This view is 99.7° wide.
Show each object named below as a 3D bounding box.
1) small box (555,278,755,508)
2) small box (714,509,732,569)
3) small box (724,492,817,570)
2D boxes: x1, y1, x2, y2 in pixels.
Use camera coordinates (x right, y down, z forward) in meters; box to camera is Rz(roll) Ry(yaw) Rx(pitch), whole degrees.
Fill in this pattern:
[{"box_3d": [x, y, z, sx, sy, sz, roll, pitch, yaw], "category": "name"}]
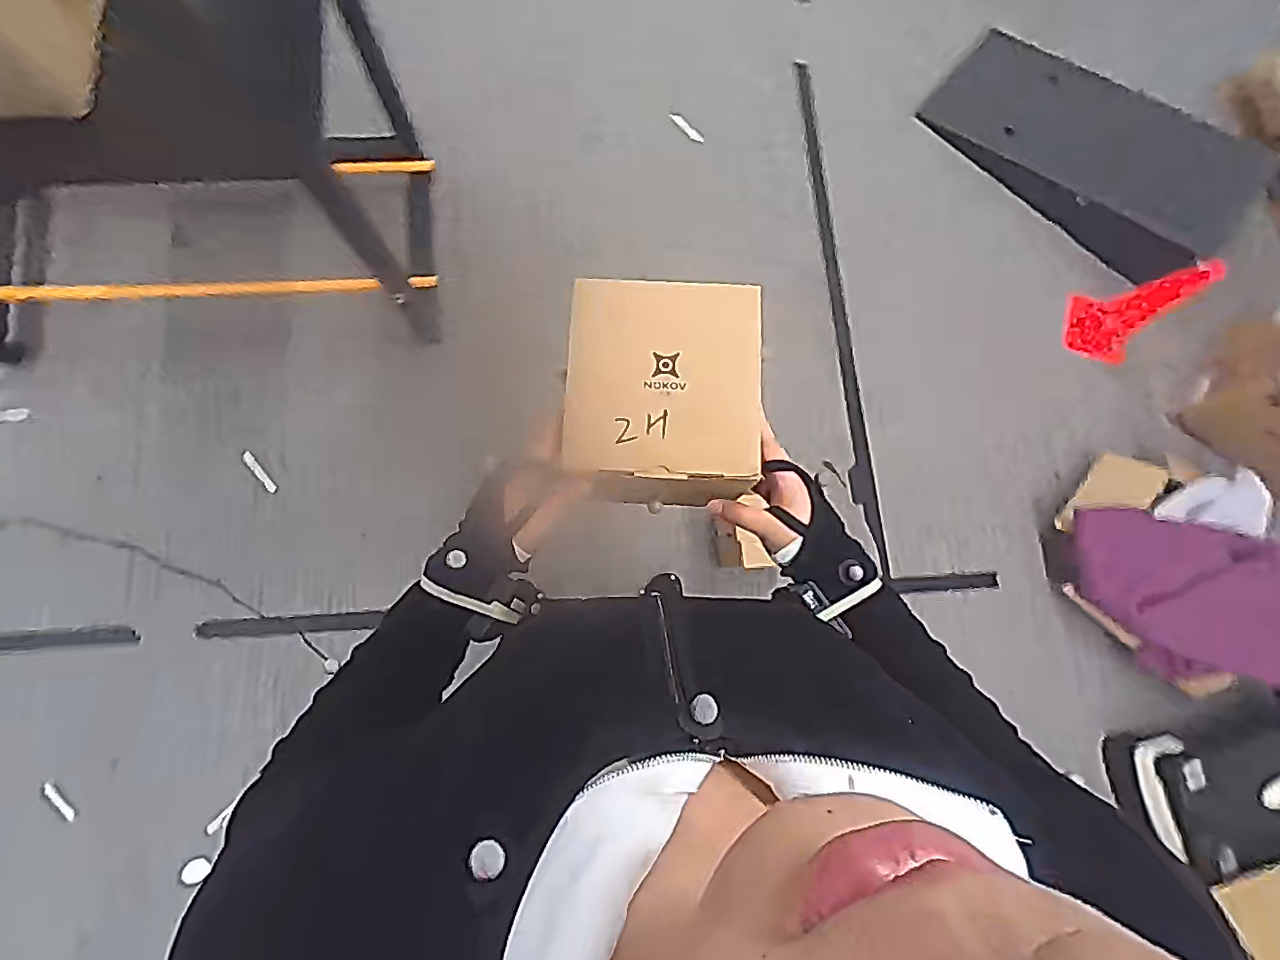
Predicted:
[{"box_3d": [0.014, -0.073, 0.532, 0.168, 0.176, 0.179, 1, 79, 1], "category": "small box"}, {"box_3d": [0.310, 0.152, 1.466, 0.179, 0.176, 0.168, -5, 79, -4], "category": "small box"}, {"box_3d": [0.305, 0.127, 1.303, 0.179, 0.176, 0.168, -4, 79, -4], "category": "small box"}]
